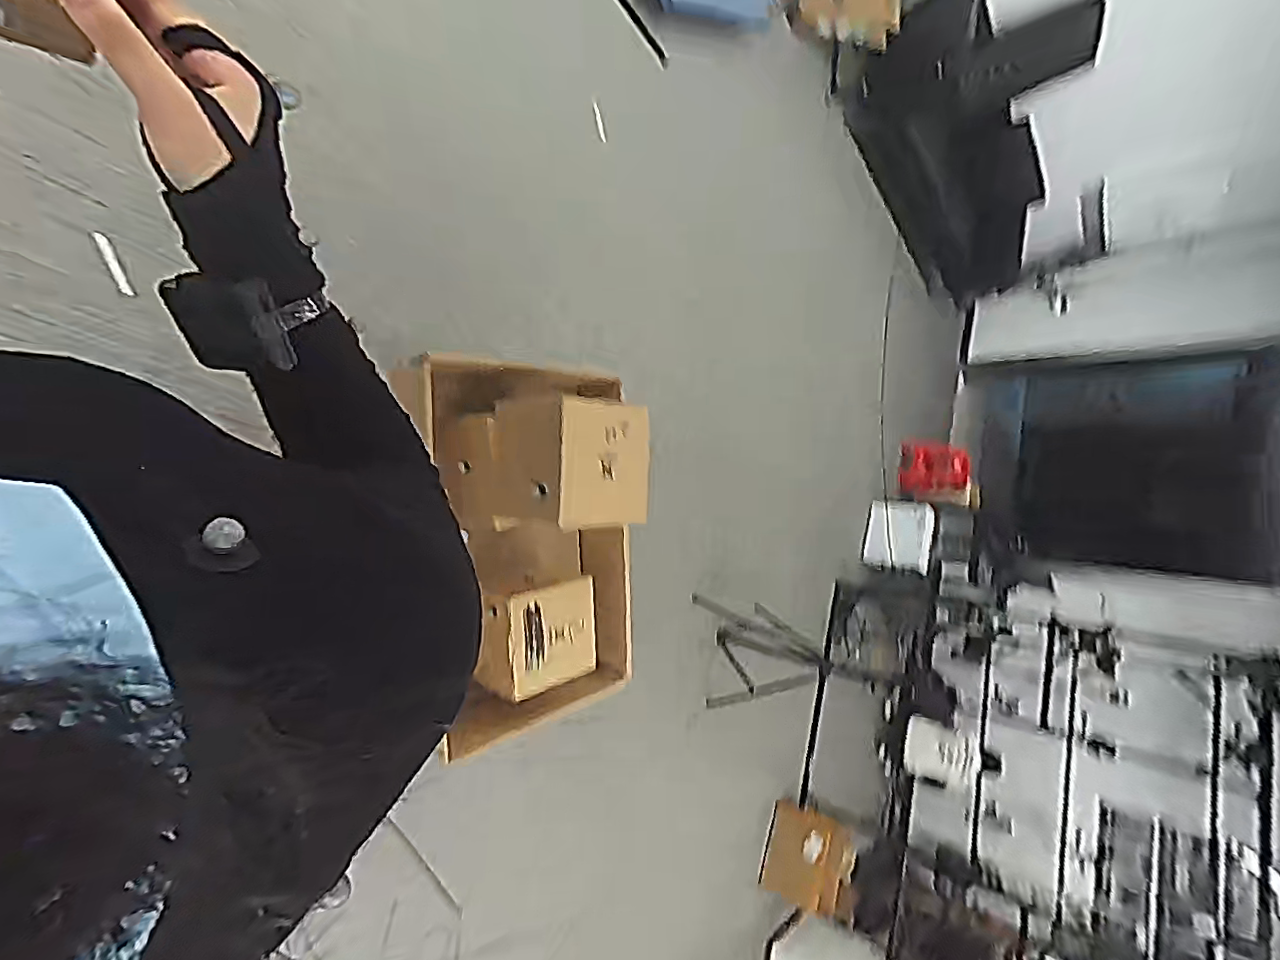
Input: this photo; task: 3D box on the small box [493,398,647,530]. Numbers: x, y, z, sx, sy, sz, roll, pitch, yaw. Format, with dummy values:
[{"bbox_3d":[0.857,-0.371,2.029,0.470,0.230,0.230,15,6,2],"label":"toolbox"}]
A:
[{"bbox_3d":[-0.108,-0.022,0.819,0.168,0.176,0.179,2,90,-47],"label":"small box"}]
